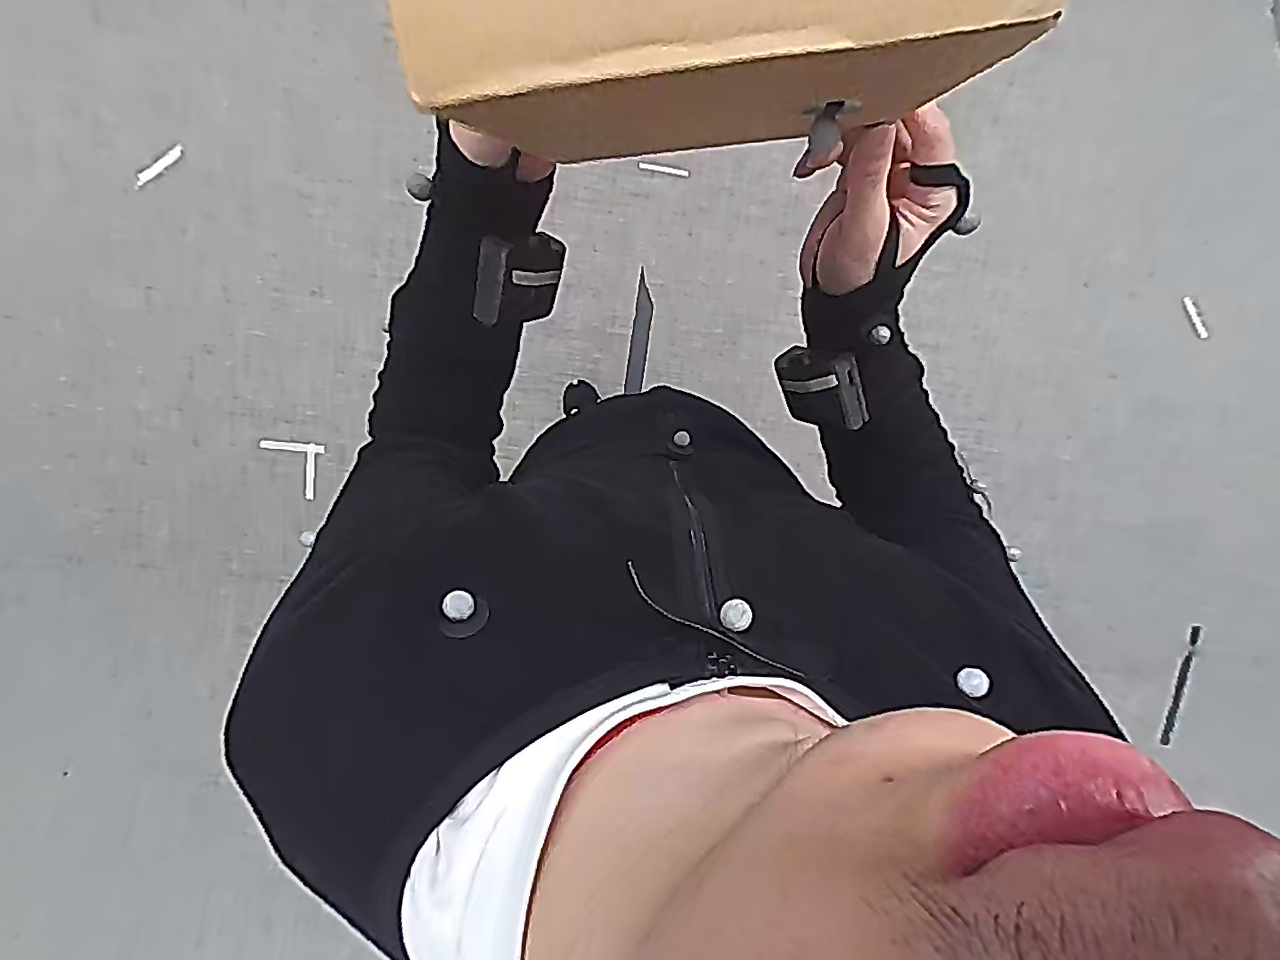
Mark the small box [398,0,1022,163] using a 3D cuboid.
[{"bbox_3d":[0.019,-0.224,0.196,0.179,0.176,0.168,-2,115,10],"label":"small box"}]
